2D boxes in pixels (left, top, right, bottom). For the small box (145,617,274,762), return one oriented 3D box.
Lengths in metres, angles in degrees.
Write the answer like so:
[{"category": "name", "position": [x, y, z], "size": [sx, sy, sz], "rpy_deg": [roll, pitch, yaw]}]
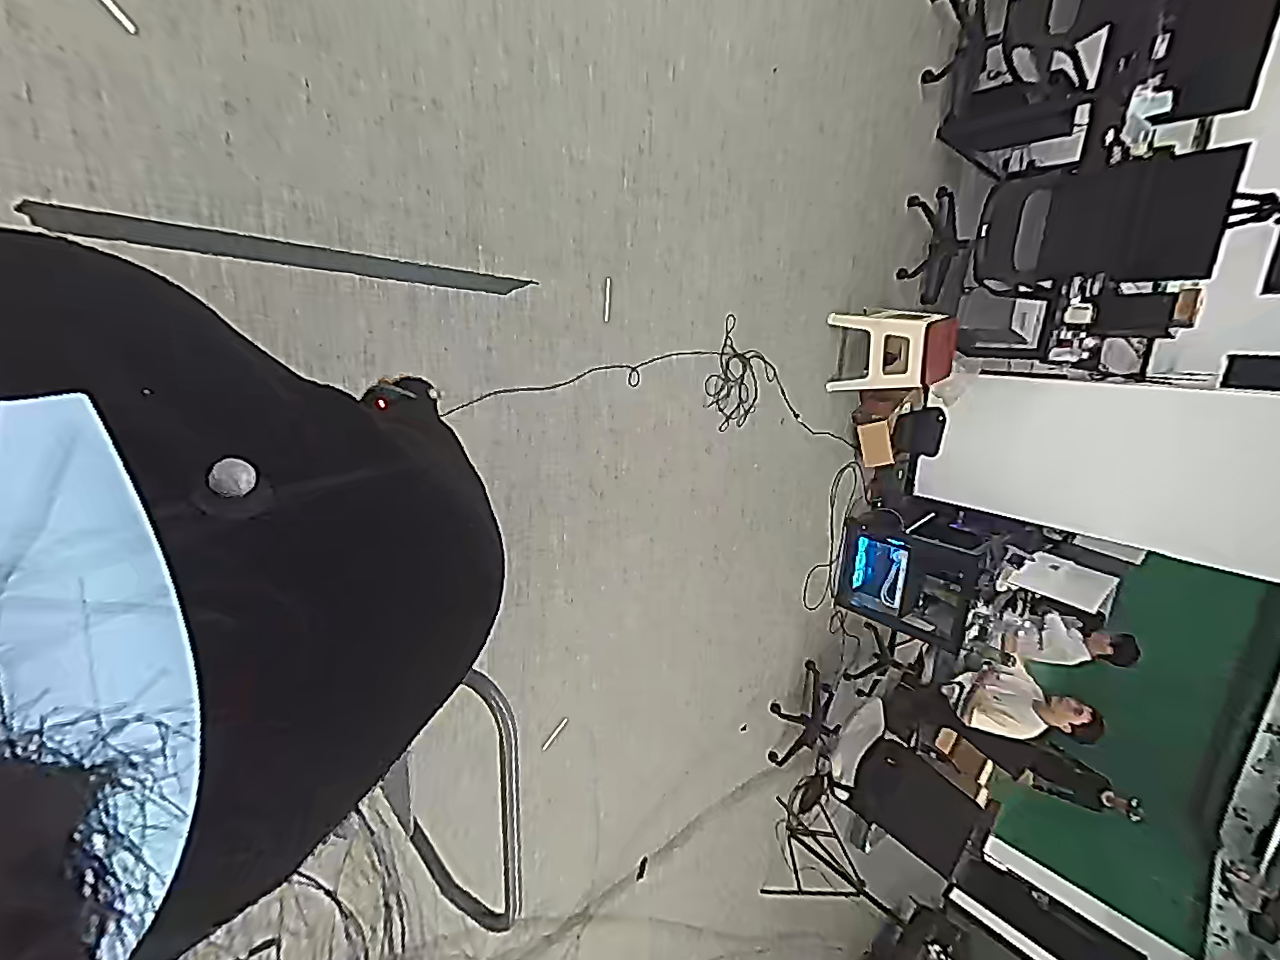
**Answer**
[{"category": "small box", "position": [-0.845, 0.402, 1.067], "size": [0.168, 0.176, 0.179], "rpy_deg": [-15, 111, -39]}]
